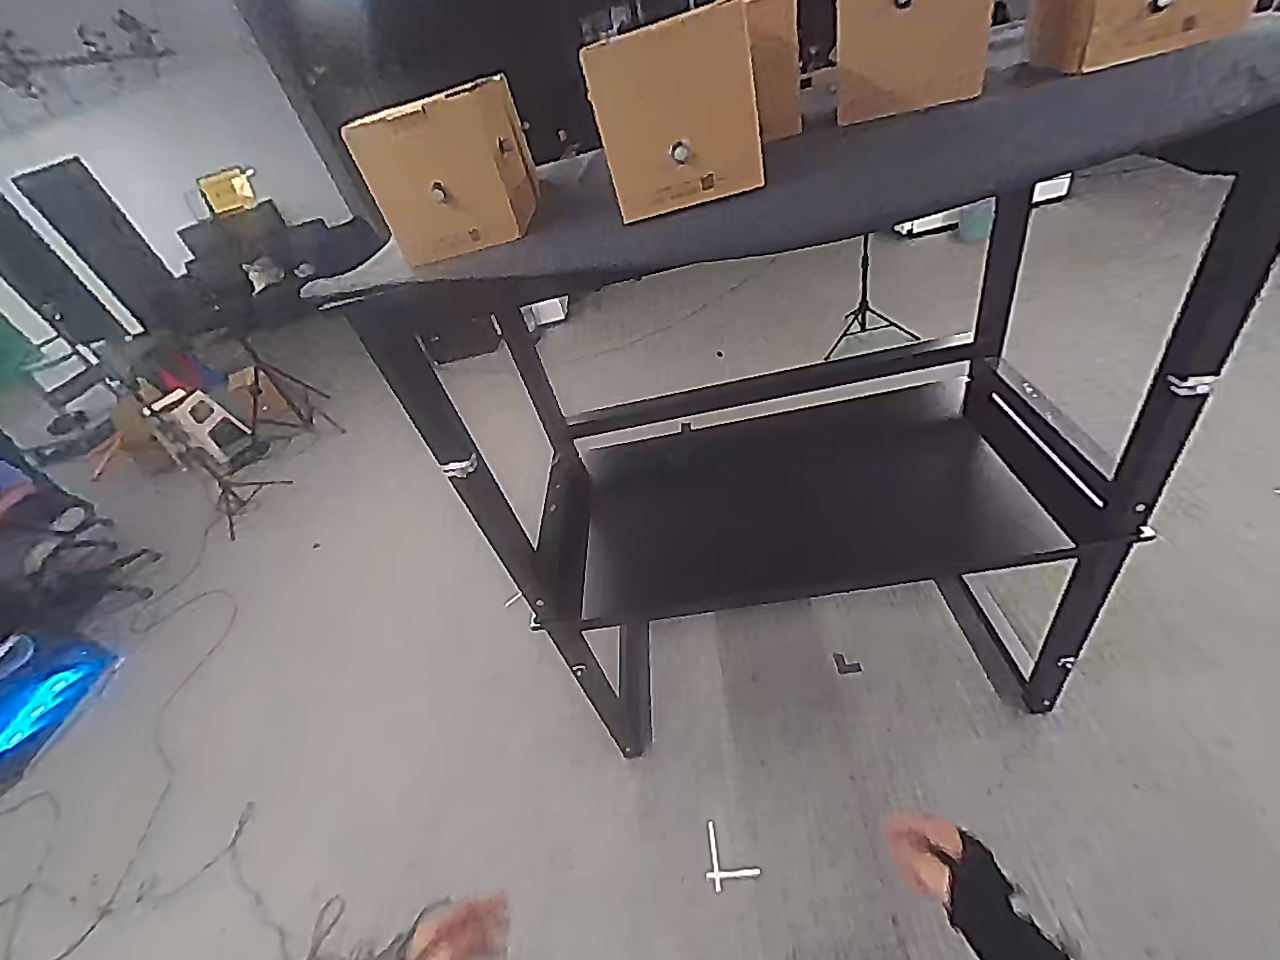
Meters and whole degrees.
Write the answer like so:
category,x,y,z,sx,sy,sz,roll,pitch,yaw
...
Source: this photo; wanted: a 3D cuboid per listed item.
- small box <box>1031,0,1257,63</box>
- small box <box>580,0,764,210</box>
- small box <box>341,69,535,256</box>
category,x,y,z,sx,sy,sz,roll,pitch,yaw
small box,0.600,-0.619,0.639,0.168,0.176,0.179,-7,40,14
small box,0.045,-0.433,0.626,0.168,0.176,0.179,-10,38,12
small box,-0.252,-0.420,0.728,0.168,0.176,0.179,-12,41,7
